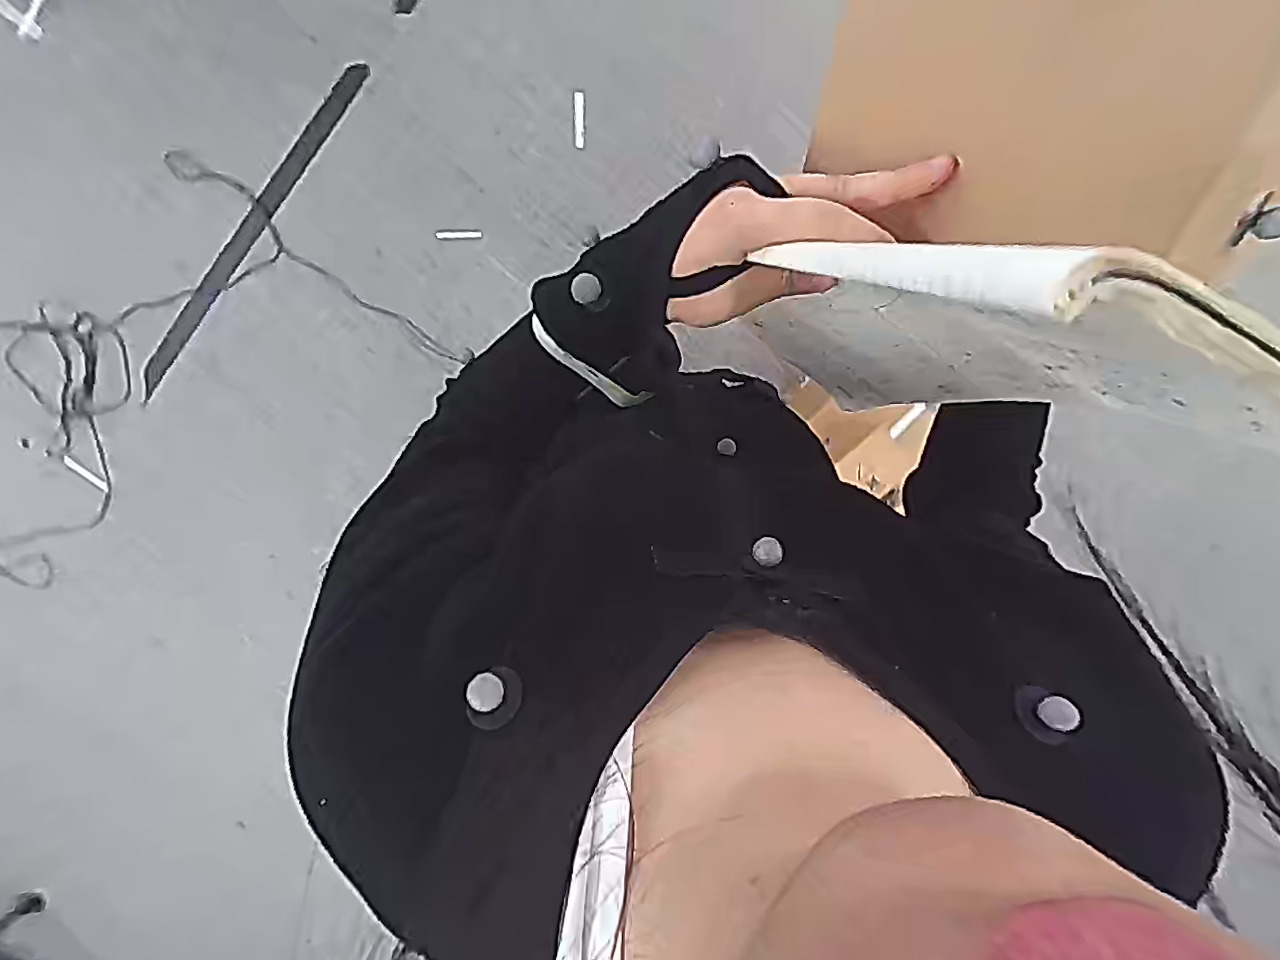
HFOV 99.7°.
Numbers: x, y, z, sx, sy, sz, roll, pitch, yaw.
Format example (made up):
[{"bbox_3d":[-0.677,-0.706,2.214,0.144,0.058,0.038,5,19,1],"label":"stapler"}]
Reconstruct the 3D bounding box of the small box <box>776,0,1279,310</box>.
[{"bbox_3d":[0.198,-0.192,0.249,0.179,0.168,0.176,-16,129,-32],"label":"small box"}]
